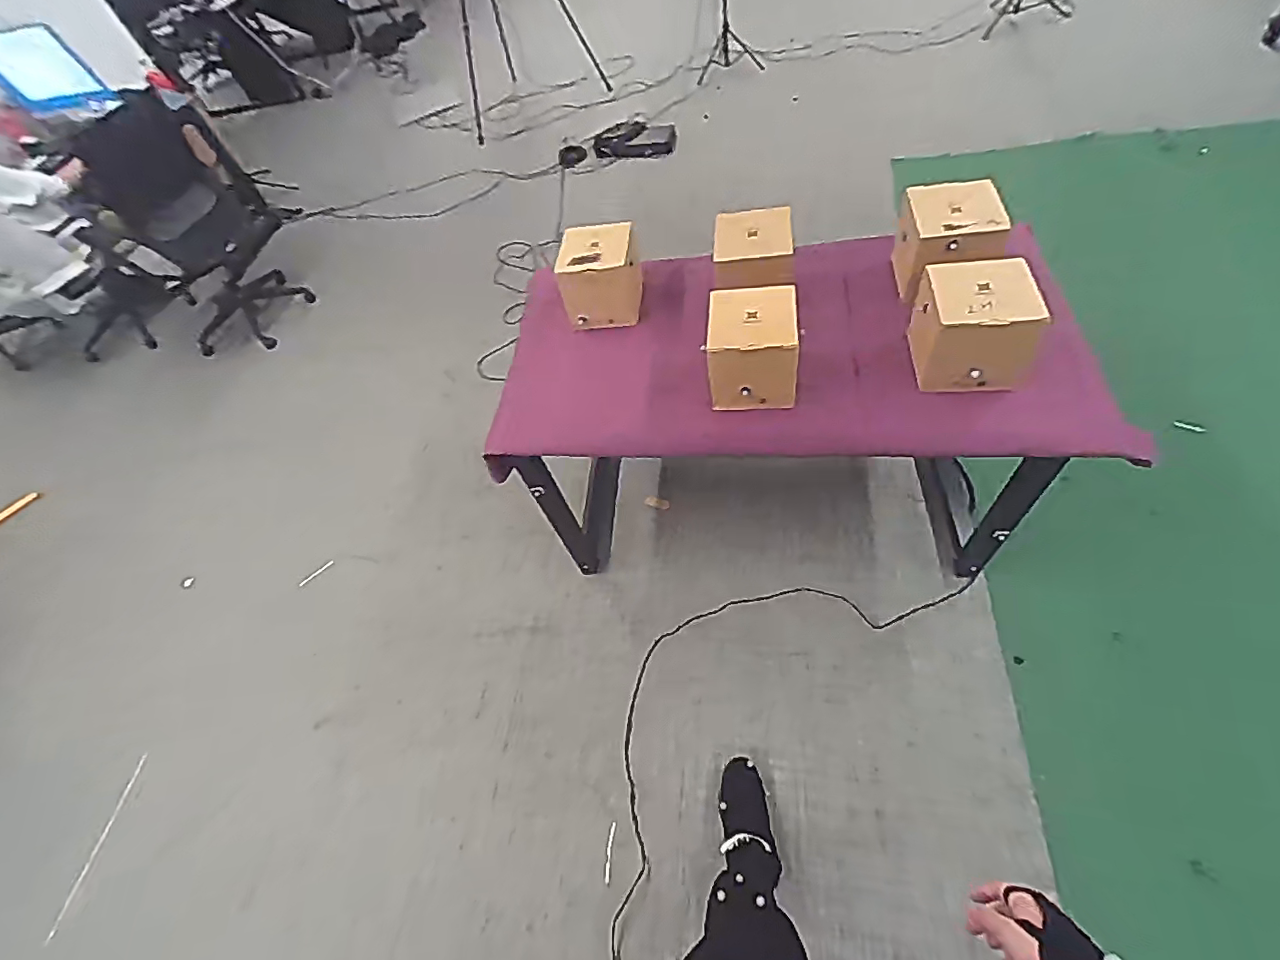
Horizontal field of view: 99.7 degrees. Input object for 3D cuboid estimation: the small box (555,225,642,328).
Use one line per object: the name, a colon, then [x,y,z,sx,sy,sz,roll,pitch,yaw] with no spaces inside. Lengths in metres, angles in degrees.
small box: [-0.093,-0.487,1.316,0.168,0.176,0.179,-1,56,11]

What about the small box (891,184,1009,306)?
small box: [0.652,-0.501,1.163,0.168,0.176,0.179,-1,57,12]

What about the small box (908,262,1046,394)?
small box: [0.619,-0.283,1.020,0.168,0.176,0.179,0,55,14]

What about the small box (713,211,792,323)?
small box: [0.258,-0.486,1.242,0.168,0.176,0.179,0,57,13]
